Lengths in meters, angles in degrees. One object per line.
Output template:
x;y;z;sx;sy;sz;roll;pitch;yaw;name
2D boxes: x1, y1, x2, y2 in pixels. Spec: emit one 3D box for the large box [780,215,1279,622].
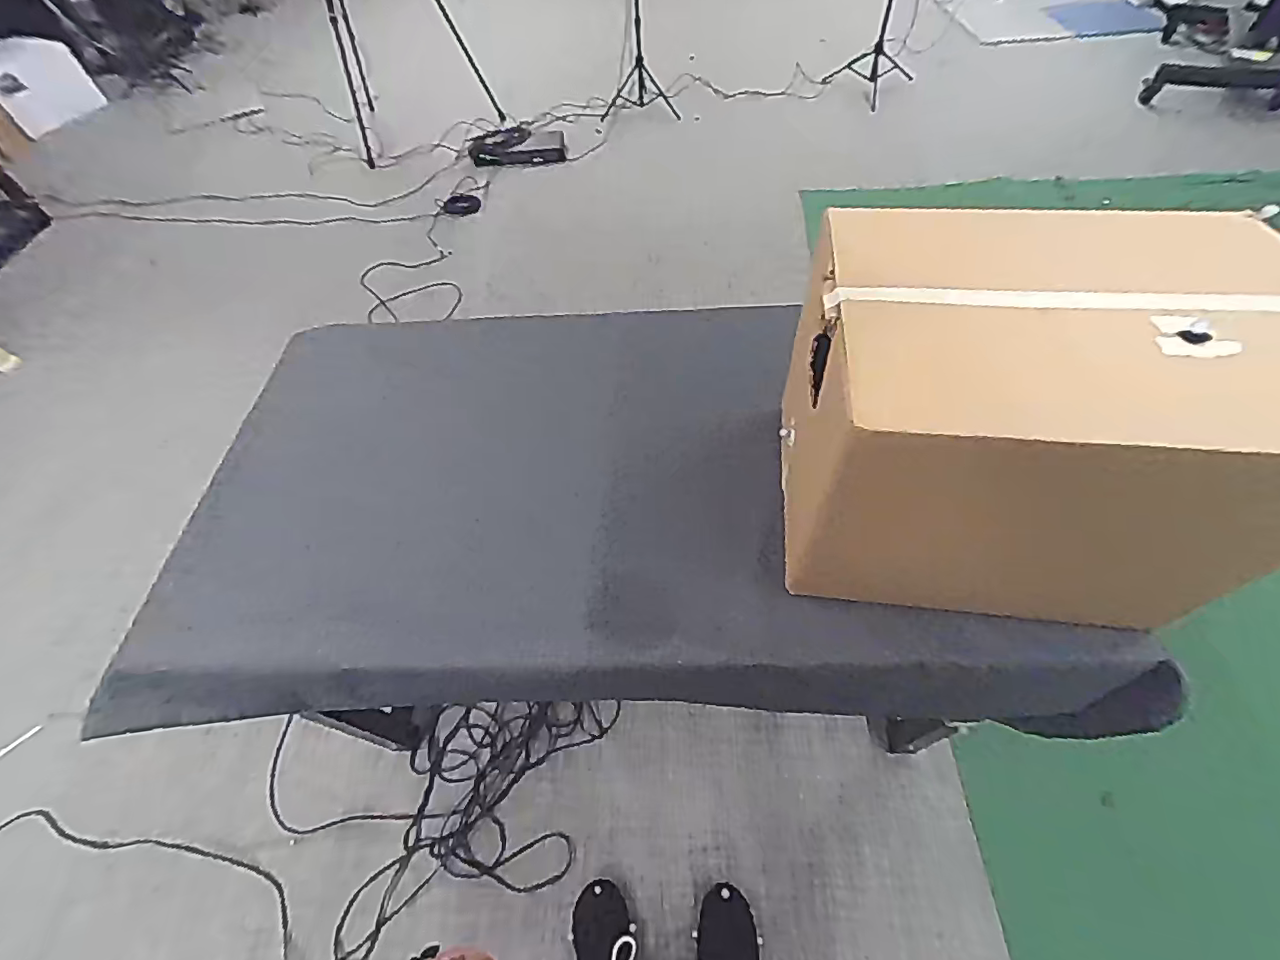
0.385;-0.060;0.594;0.408;0.320;0.320;5;56;6;large box
